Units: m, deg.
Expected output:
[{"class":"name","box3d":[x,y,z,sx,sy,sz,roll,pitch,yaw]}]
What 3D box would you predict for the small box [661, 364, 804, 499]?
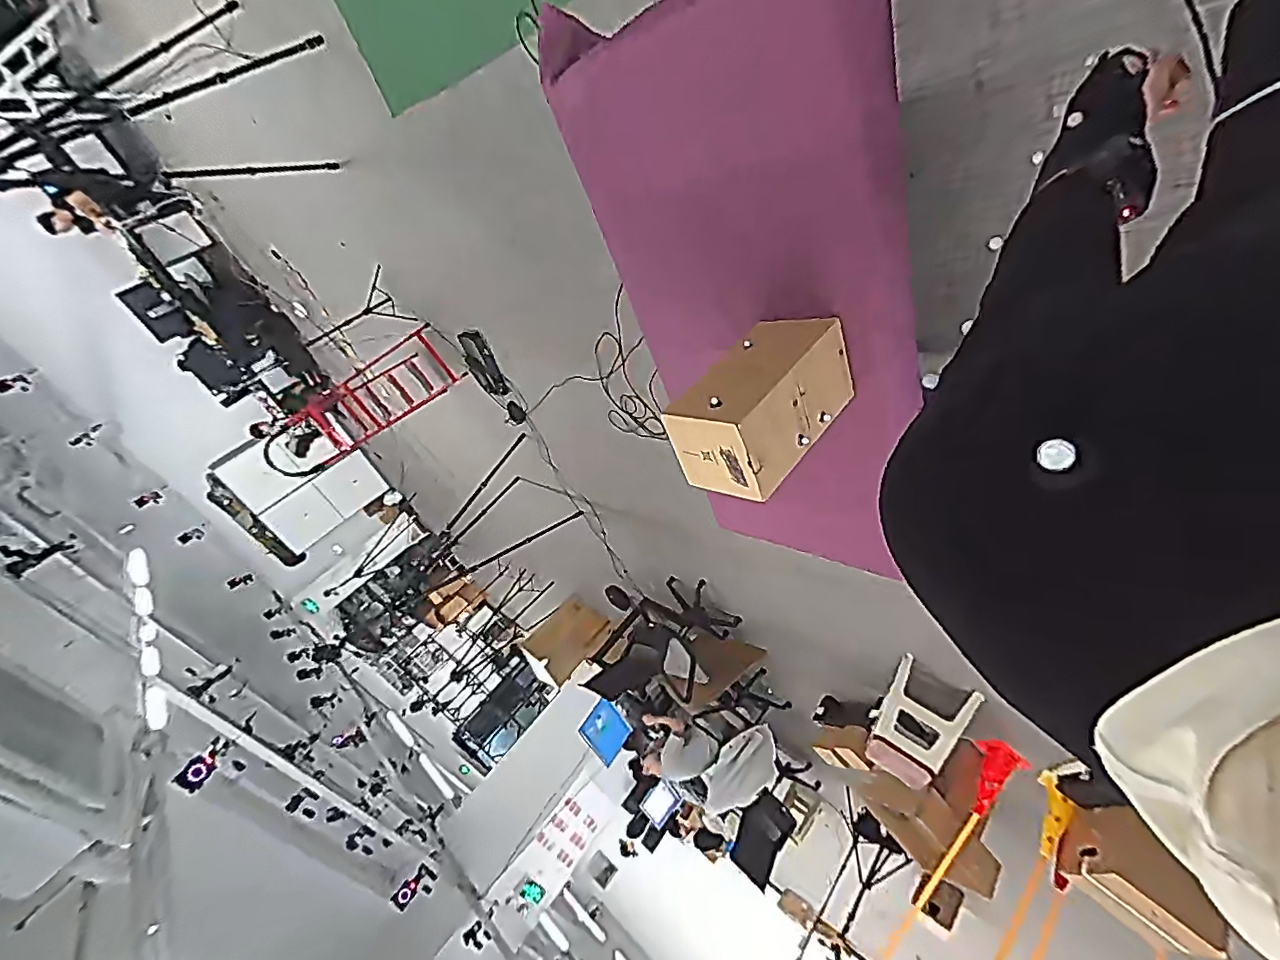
[{"class":"small box","box3d":[0.174,-0.093,0.963,0.179,0.176,0.168,15,140,46]}]
